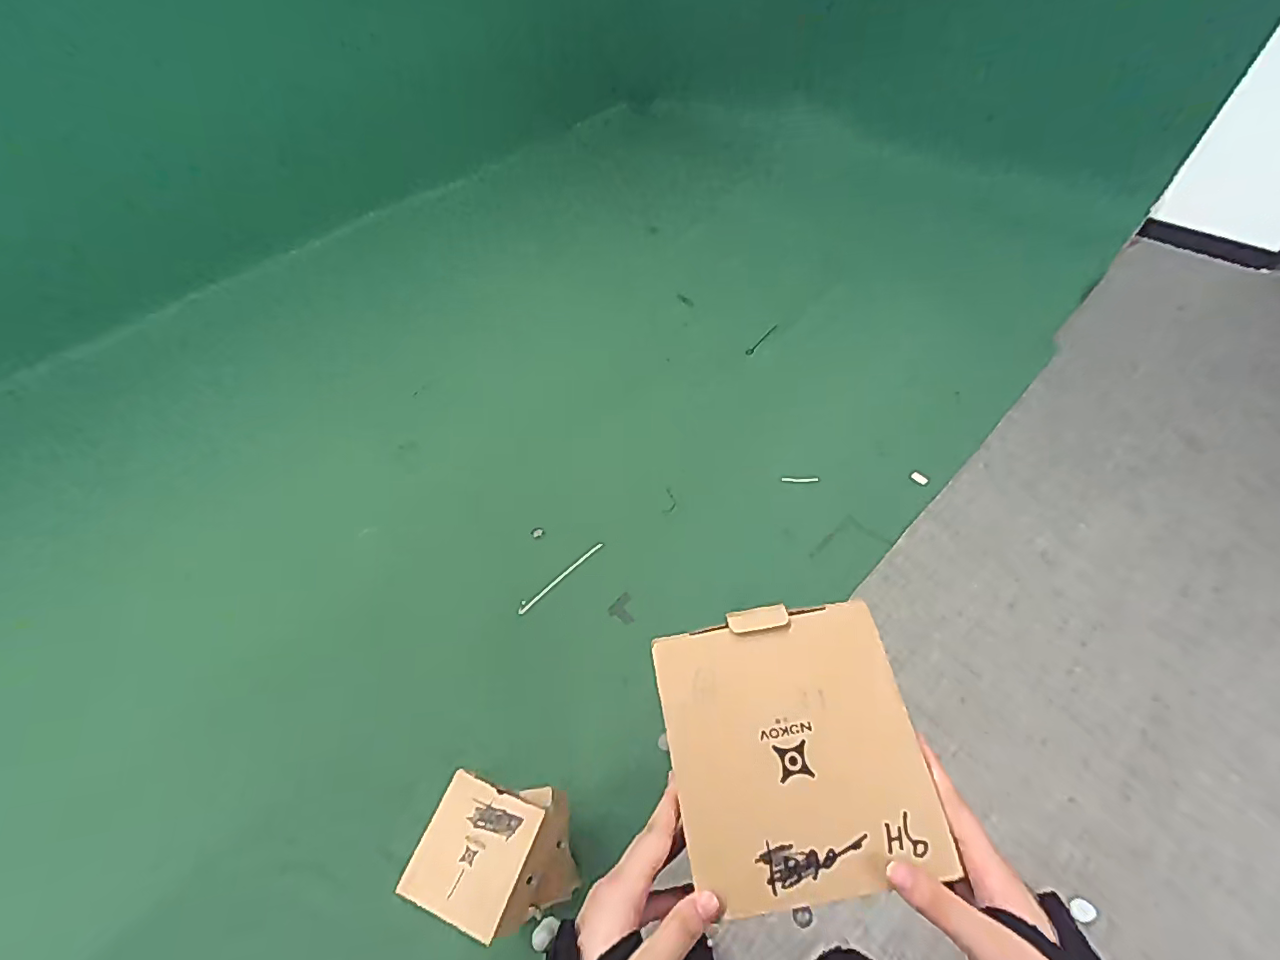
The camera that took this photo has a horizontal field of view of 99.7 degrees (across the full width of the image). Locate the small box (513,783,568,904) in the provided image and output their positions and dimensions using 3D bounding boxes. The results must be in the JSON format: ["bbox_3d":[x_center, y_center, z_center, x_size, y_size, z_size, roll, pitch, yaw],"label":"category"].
[{"bbox_3d":[-0.229,0.686,1.012,0.168,0.176,0.179,-7,53,-3],"label":"small box"}]

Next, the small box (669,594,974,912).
[{"bbox_3d":[0.119,0.208,0.438,0.168,0.176,0.179,-11,65,1],"label":"small box"}]

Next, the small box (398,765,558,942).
[{"bbox_3d":[-0.246,0.595,0.876,0.168,0.176,0.179,17,58,15],"label":"small box"}]
